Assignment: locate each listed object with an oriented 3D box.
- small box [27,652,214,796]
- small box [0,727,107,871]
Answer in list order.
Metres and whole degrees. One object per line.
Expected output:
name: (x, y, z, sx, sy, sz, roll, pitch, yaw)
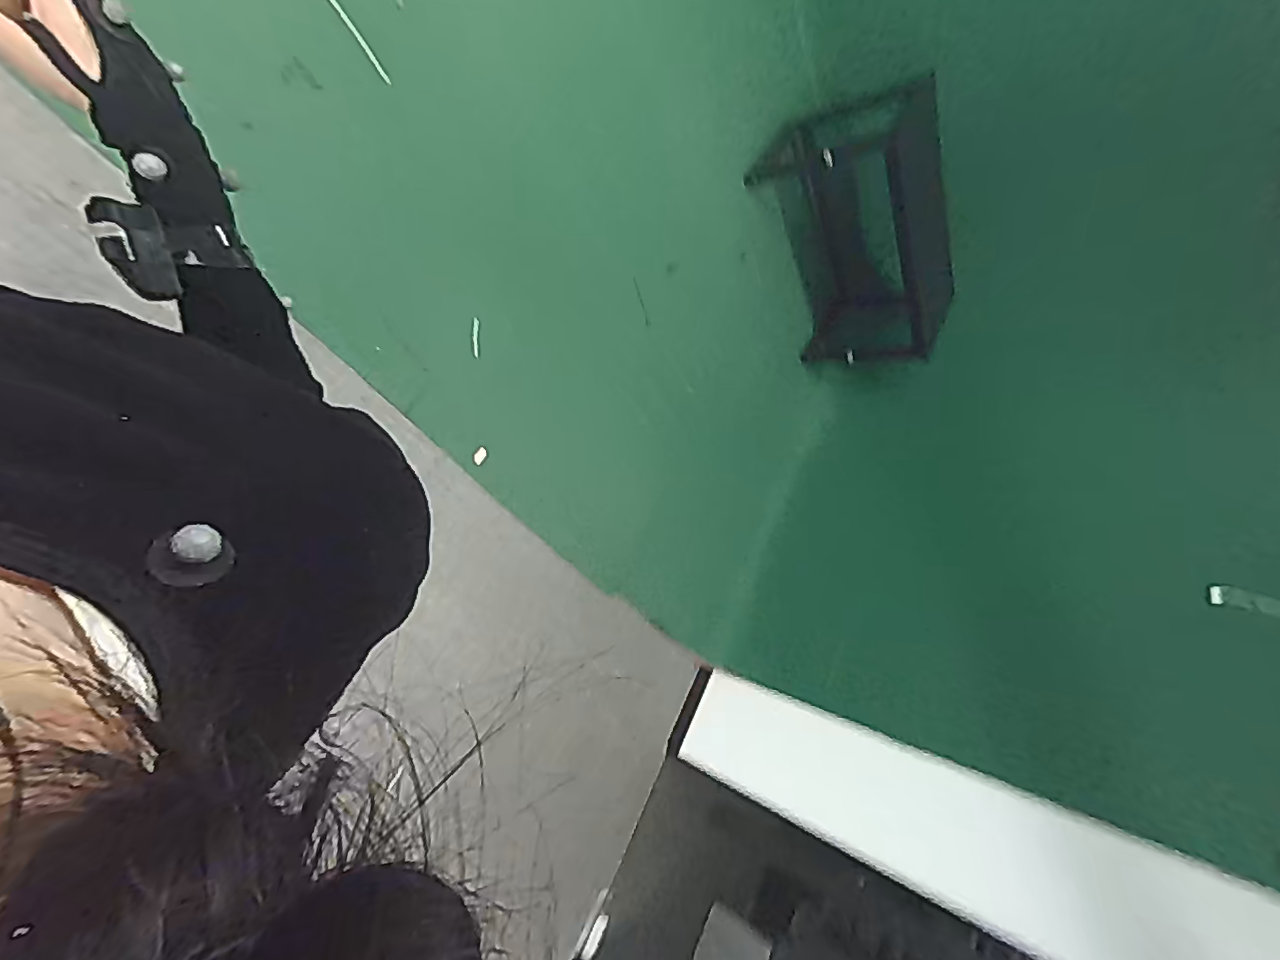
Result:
small box: (-0.916, 0.426, 0.962, 0.179, 0.176, 0.168, 42, 69, -42)
small box: (-1.129, 0.583, 1.001, 0.168, 0.176, 0.179, 41, 67, -43)
